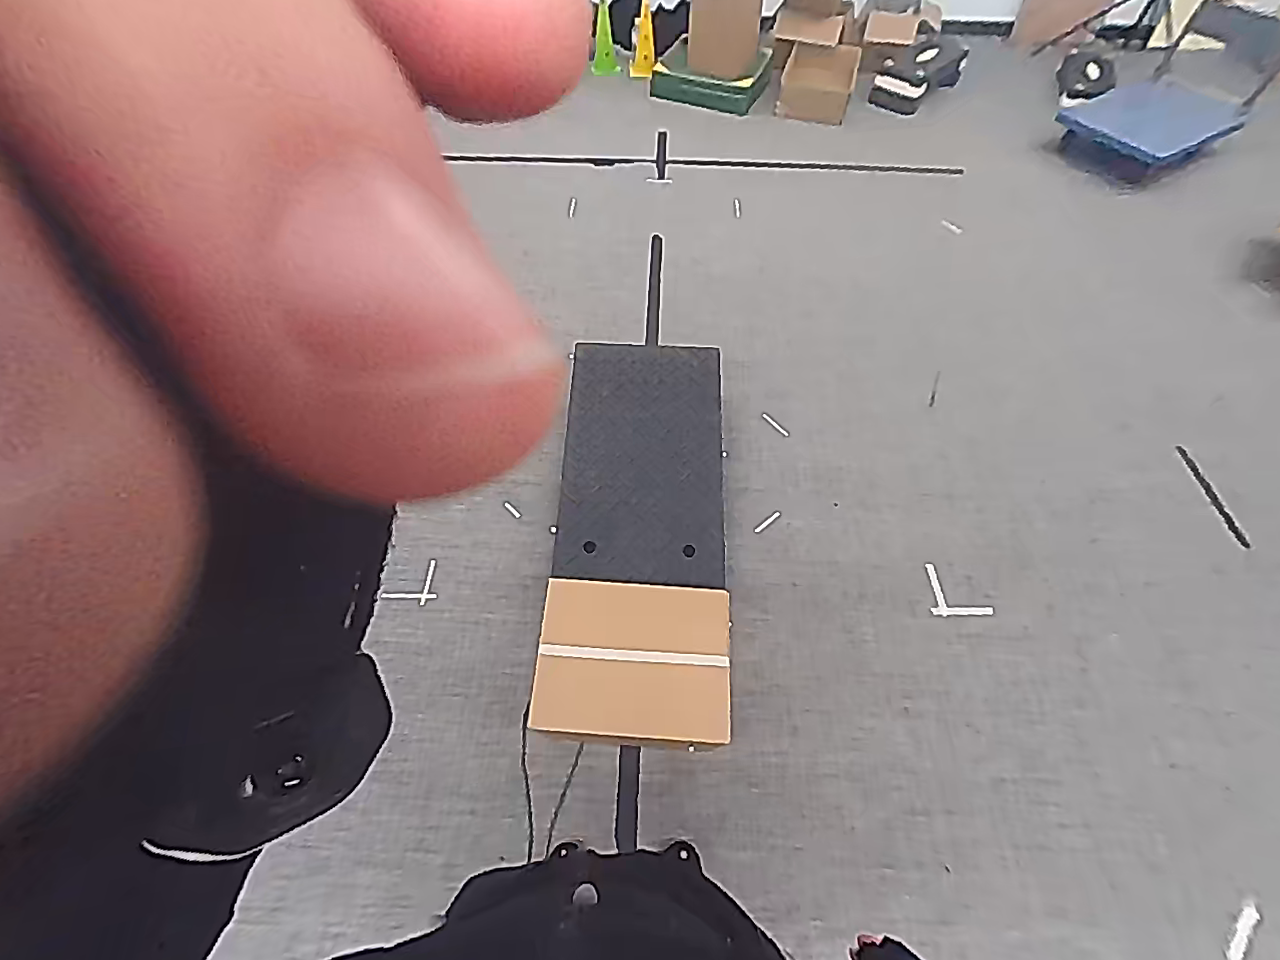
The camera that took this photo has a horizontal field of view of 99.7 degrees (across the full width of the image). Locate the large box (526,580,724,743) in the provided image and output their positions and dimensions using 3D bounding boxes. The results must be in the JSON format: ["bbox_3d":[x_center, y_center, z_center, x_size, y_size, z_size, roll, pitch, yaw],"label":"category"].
[{"bbox_3d":[-0.025,0.440,1.276,0.408,0.320,0.320,4,61,0],"label":"large box"}]

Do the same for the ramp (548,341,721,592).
[{"bbox_3d":[-0.001,0.001,1.645,0.509,0.206,0.991,2,57,-2],"label":"ramp"}]
